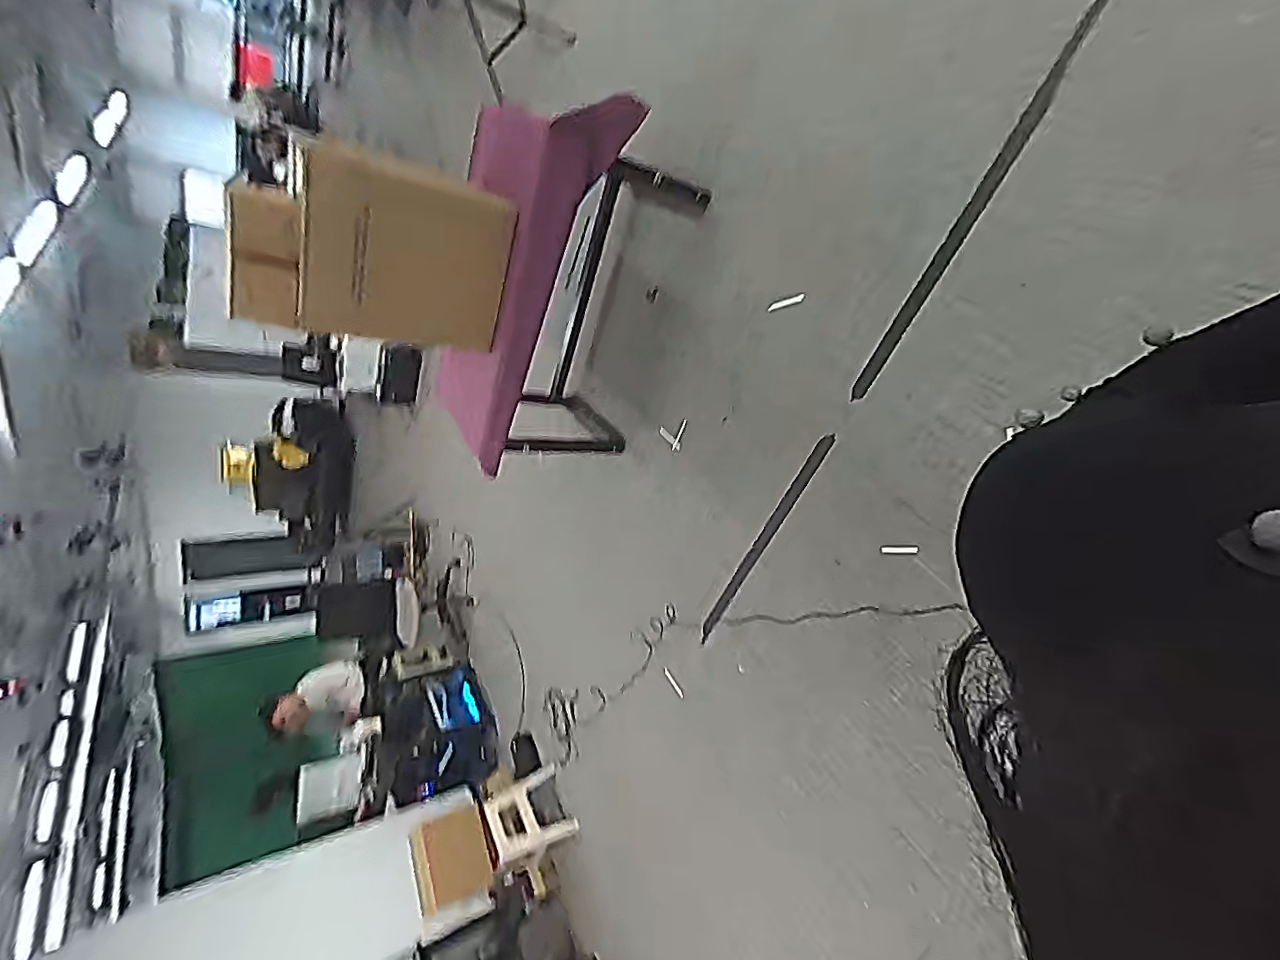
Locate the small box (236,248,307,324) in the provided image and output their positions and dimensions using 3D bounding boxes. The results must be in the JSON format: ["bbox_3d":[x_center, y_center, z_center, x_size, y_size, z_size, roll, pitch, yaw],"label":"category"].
[{"bbox_3d":[-1.132,-0.595,1.659,0.168,0.176,0.179,43,122,42],"label":"small box"}]

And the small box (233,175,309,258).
[{"bbox_3d":[-1.098,-0.777,1.606,0.179,0.176,0.168,46,127,38],"label":"small box"}]
